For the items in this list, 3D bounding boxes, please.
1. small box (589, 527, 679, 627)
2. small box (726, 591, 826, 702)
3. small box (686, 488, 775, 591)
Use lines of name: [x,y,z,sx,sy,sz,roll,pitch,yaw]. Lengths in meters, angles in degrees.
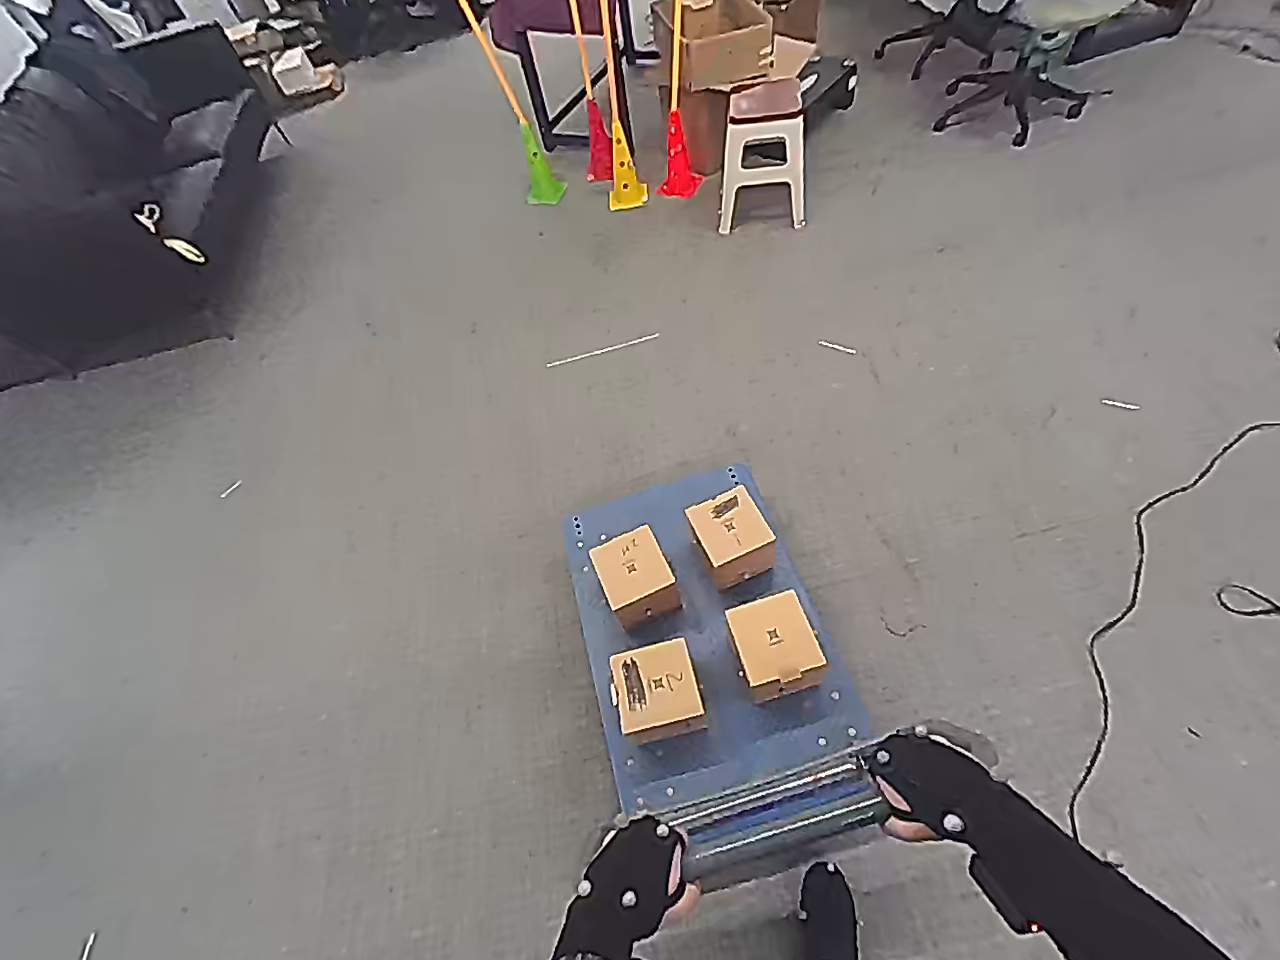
small box: [-0.011,0.255,1.372,0.168,0.176,0.179,-23,56,-6]
small box: [0.300,0.383,1.231,0.168,0.176,0.179,-17,57,-1]
small box: [0.230,0.157,1.391,0.168,0.176,0.179,-24,57,-4]
